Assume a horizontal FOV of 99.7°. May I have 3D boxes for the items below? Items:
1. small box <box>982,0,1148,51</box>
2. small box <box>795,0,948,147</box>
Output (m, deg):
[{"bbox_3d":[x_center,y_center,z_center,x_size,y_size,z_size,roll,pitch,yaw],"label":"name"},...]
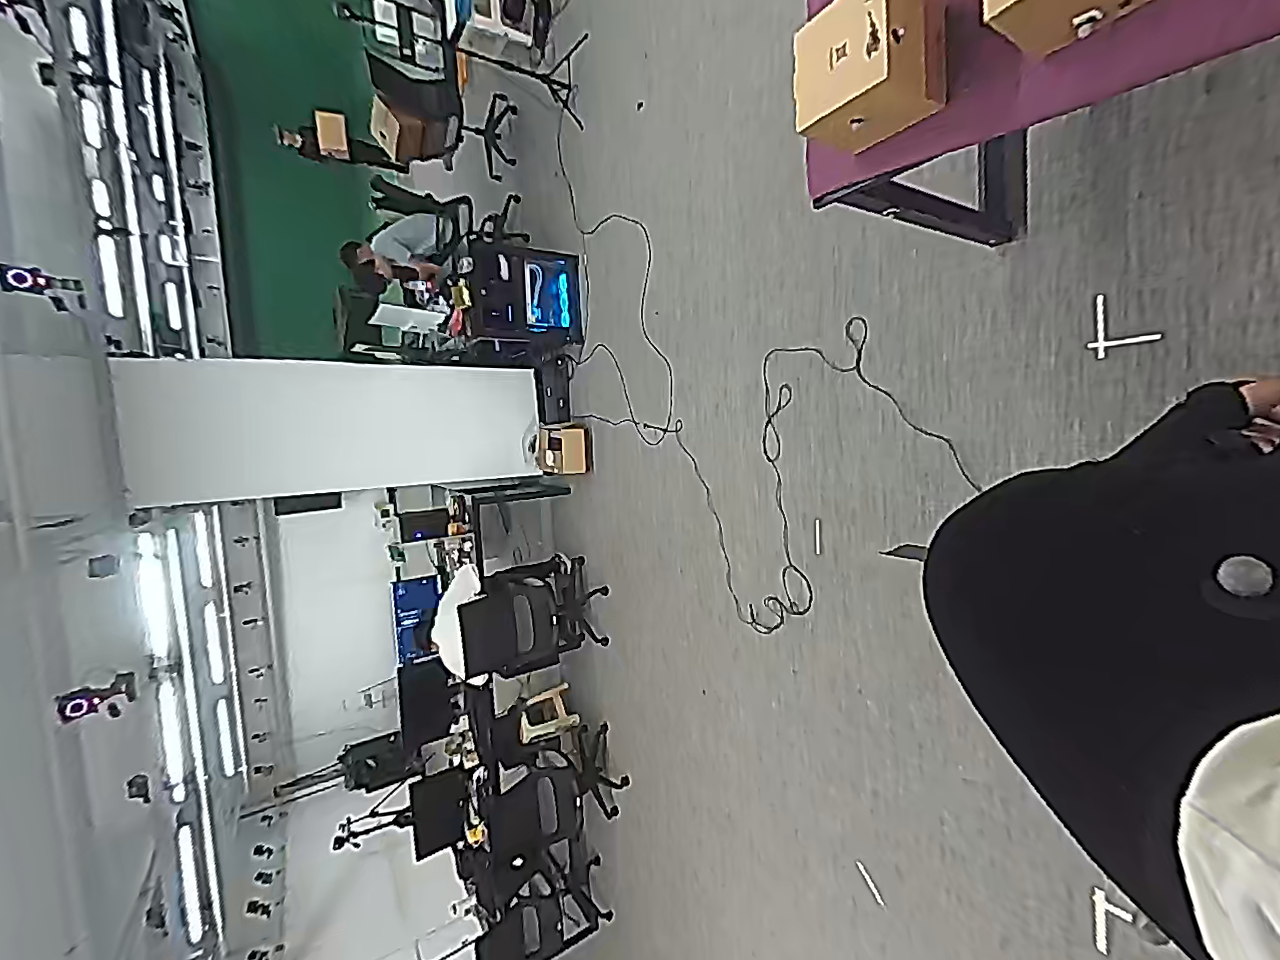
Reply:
[{"bbox_3d":[0.547,-0.685,0.663,0.168,0.176,0.179,4,100,58],"label":"small box"},{"bbox_3d":[0.386,-0.696,0.912,0.179,0.176,0.168,6,101,58],"label":"small box"}]
